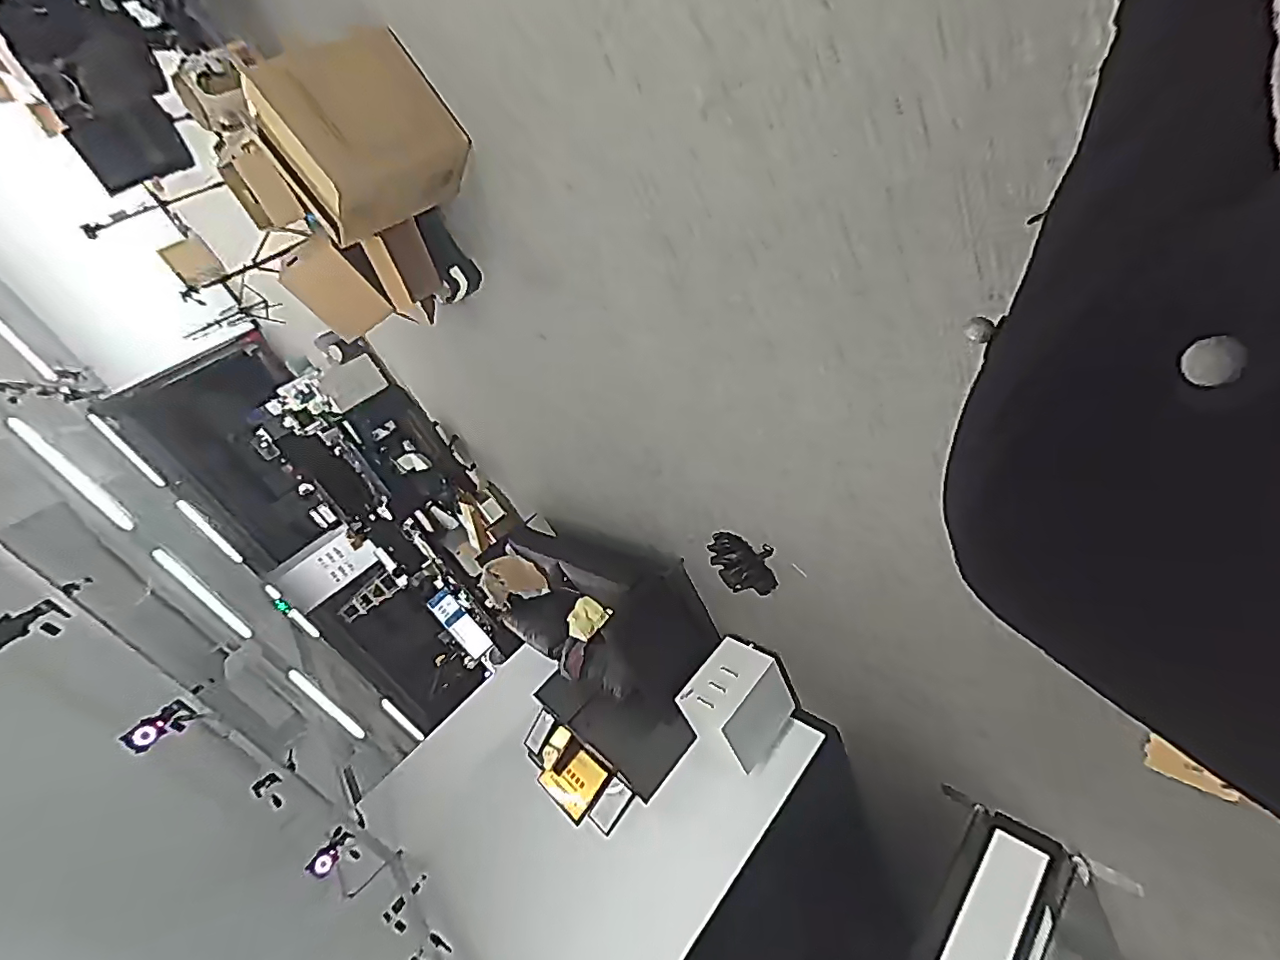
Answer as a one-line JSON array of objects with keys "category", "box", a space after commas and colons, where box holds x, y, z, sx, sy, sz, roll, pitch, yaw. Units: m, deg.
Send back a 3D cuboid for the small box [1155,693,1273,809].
[{"category": "small box", "box": [1.453, 0.673, 1.372, 0.179, 0.176, 0.168, 12, 135, 49]}]
